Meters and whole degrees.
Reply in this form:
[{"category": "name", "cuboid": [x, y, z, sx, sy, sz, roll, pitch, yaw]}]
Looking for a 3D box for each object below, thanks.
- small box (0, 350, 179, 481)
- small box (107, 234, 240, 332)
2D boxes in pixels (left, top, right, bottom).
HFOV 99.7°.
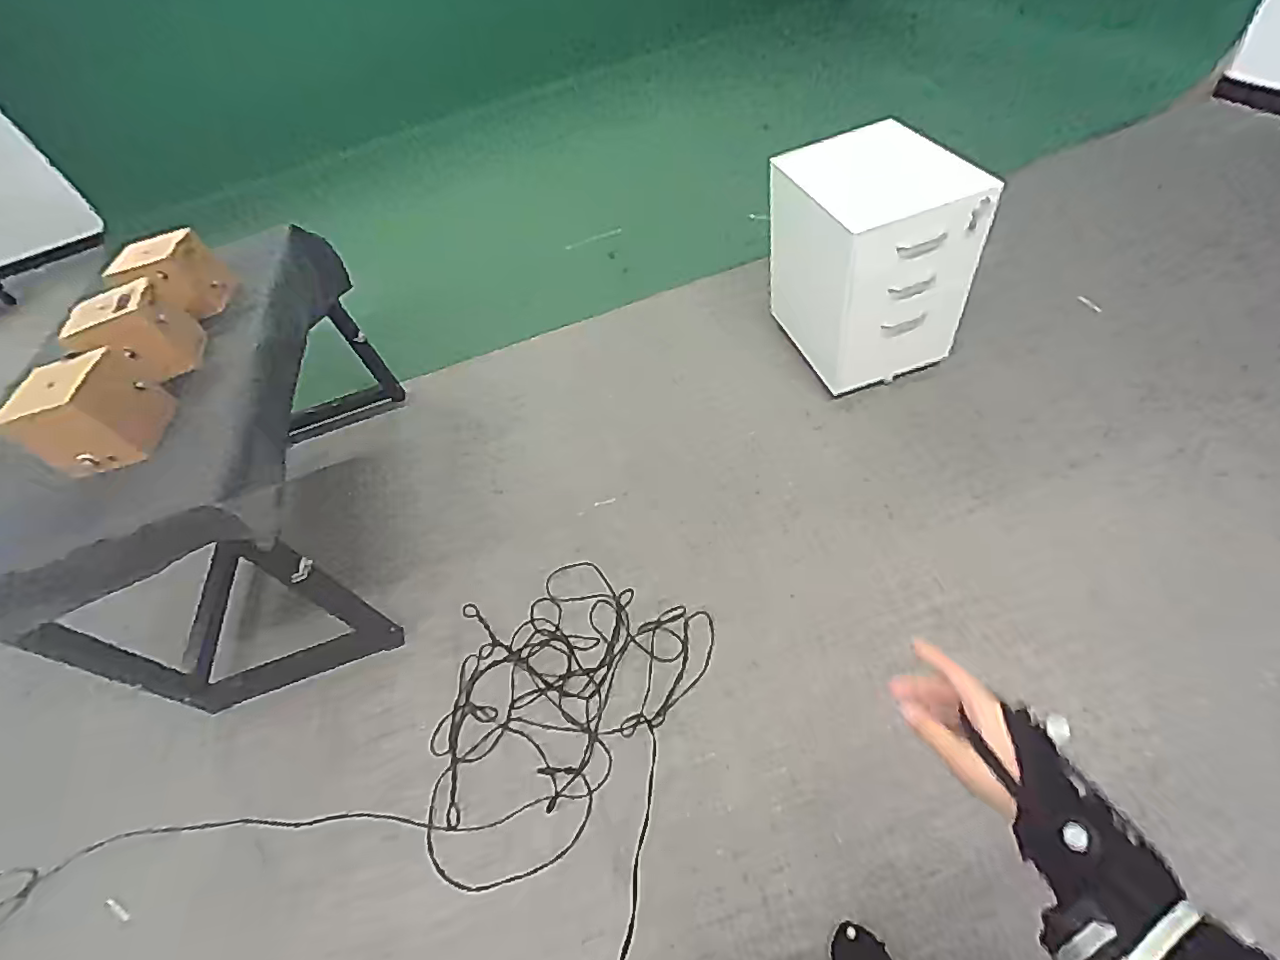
[{"category": "small box", "cuboid": [-1.097, -0.127, 1.094, 0.168, 0.176, 0.179, -17, 51, 3]}, {"category": "small box", "cuboid": [-1.228, -0.519, 1.439, 0.179, 0.176, 0.168, -15, 50, 2]}]
